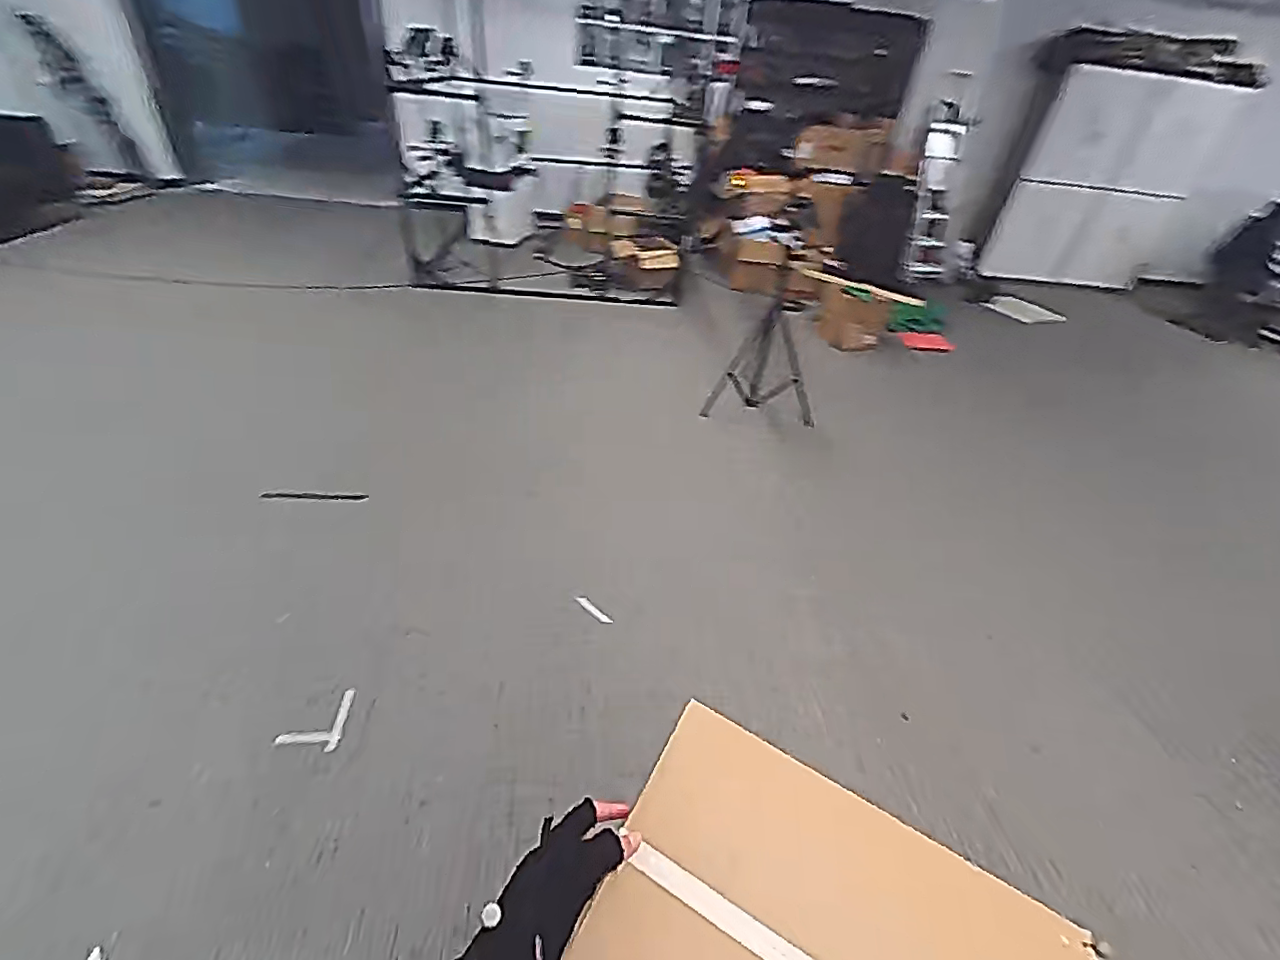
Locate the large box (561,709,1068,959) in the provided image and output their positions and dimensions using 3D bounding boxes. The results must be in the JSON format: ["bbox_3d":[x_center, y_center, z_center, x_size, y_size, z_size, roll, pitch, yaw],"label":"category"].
[{"bbox_3d":[0.136,0.526,0.562,0.408,0.320,0.320,25,48,16],"label":"large box"}]
